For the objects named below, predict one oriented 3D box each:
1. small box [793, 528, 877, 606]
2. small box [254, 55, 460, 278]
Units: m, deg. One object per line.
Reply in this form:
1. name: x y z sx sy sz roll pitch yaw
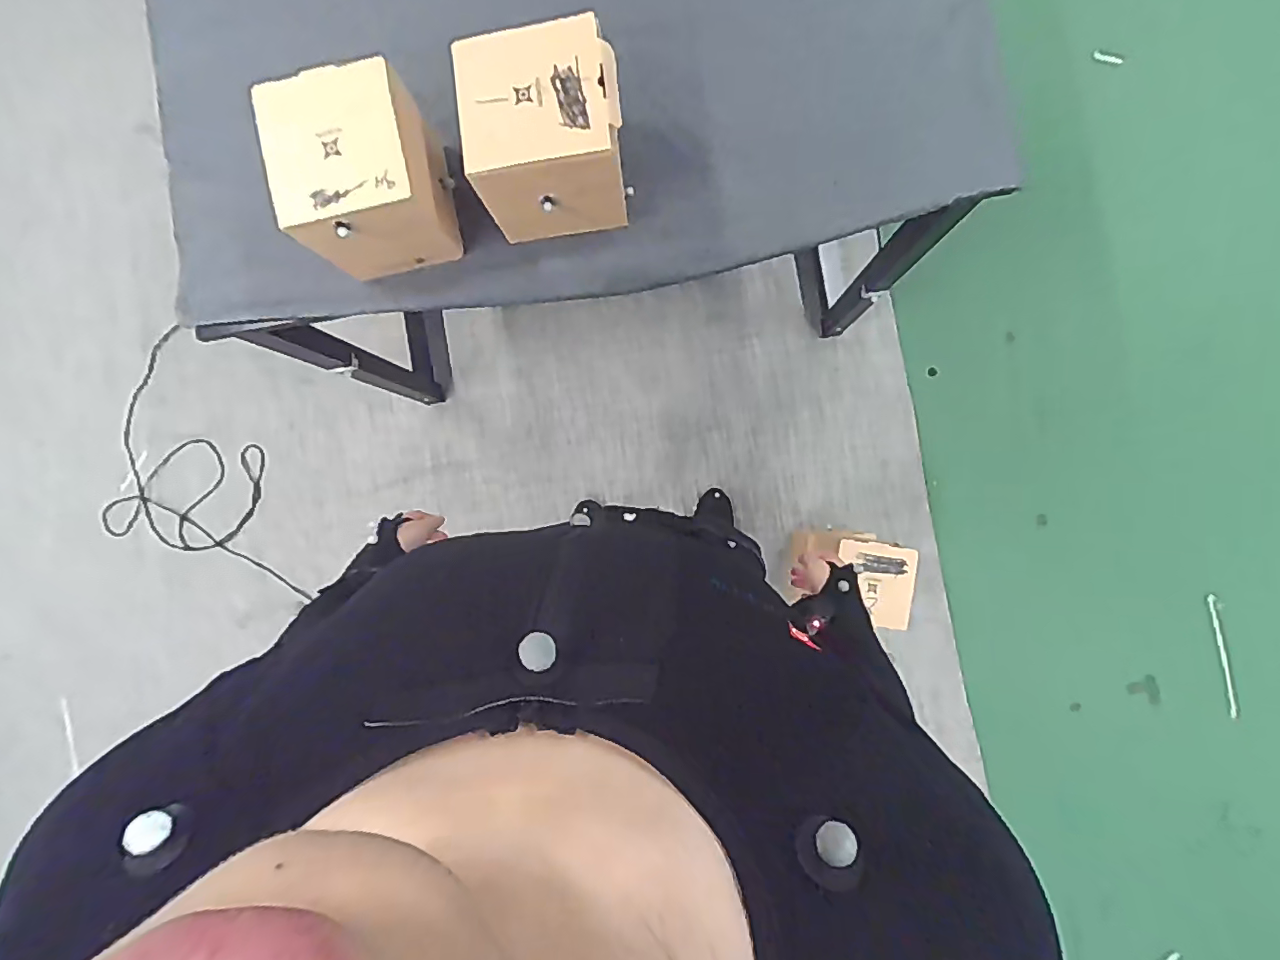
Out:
1. small box: 0.491 0.216 1.379 0.168 0.176 0.179 -1 89 3
2. small box: -0.356 -0.394 0.709 0.168 0.176 0.179 -11 88 3
